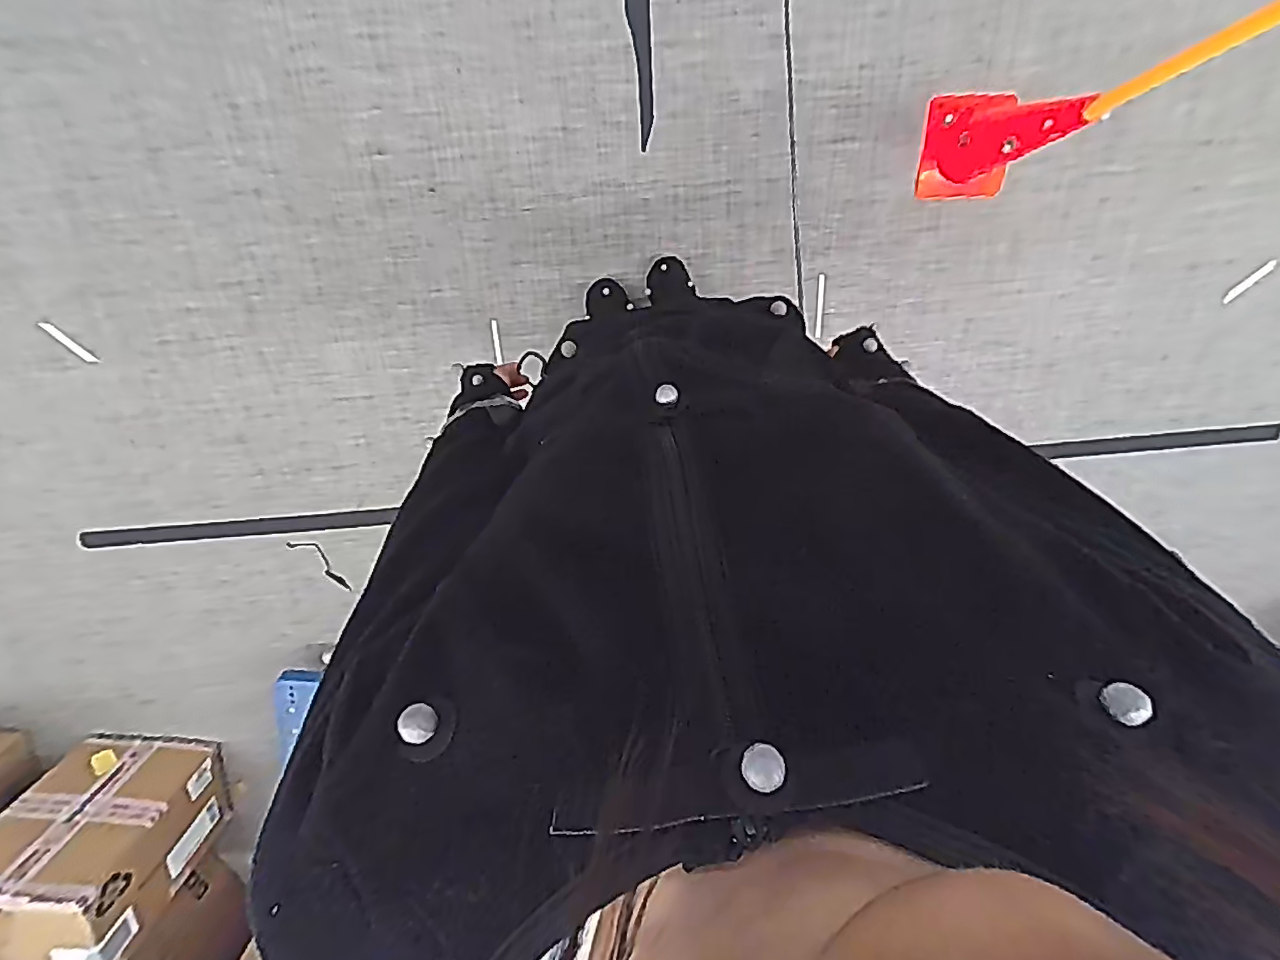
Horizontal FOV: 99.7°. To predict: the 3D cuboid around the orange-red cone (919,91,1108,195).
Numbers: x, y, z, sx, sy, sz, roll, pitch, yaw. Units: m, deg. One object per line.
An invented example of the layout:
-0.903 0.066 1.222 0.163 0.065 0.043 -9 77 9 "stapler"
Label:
0.732 -0.671 1.033 0.198 0.360 0.199 -1 113 -2 "orange-red cone"
